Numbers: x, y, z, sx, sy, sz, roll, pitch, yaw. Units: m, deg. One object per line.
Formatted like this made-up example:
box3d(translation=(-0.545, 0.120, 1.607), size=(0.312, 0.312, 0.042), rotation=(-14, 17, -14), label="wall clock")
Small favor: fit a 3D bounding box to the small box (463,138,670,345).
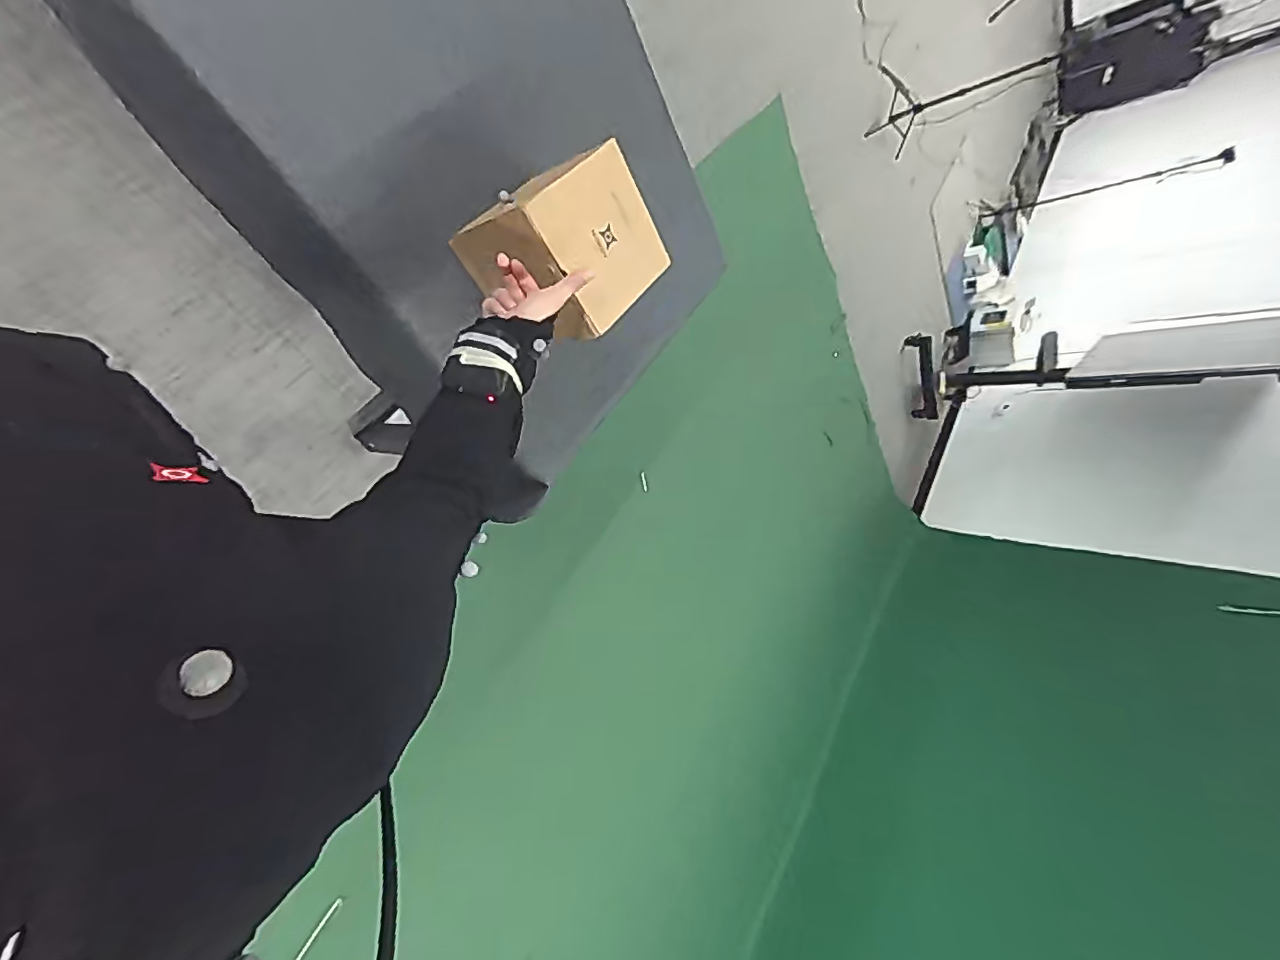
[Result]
box3d(translation=(-0.097, -0.291, 0.691), size=(0.179, 0.176, 0.168), rotation=(-55, 131, -29), label="small box")
